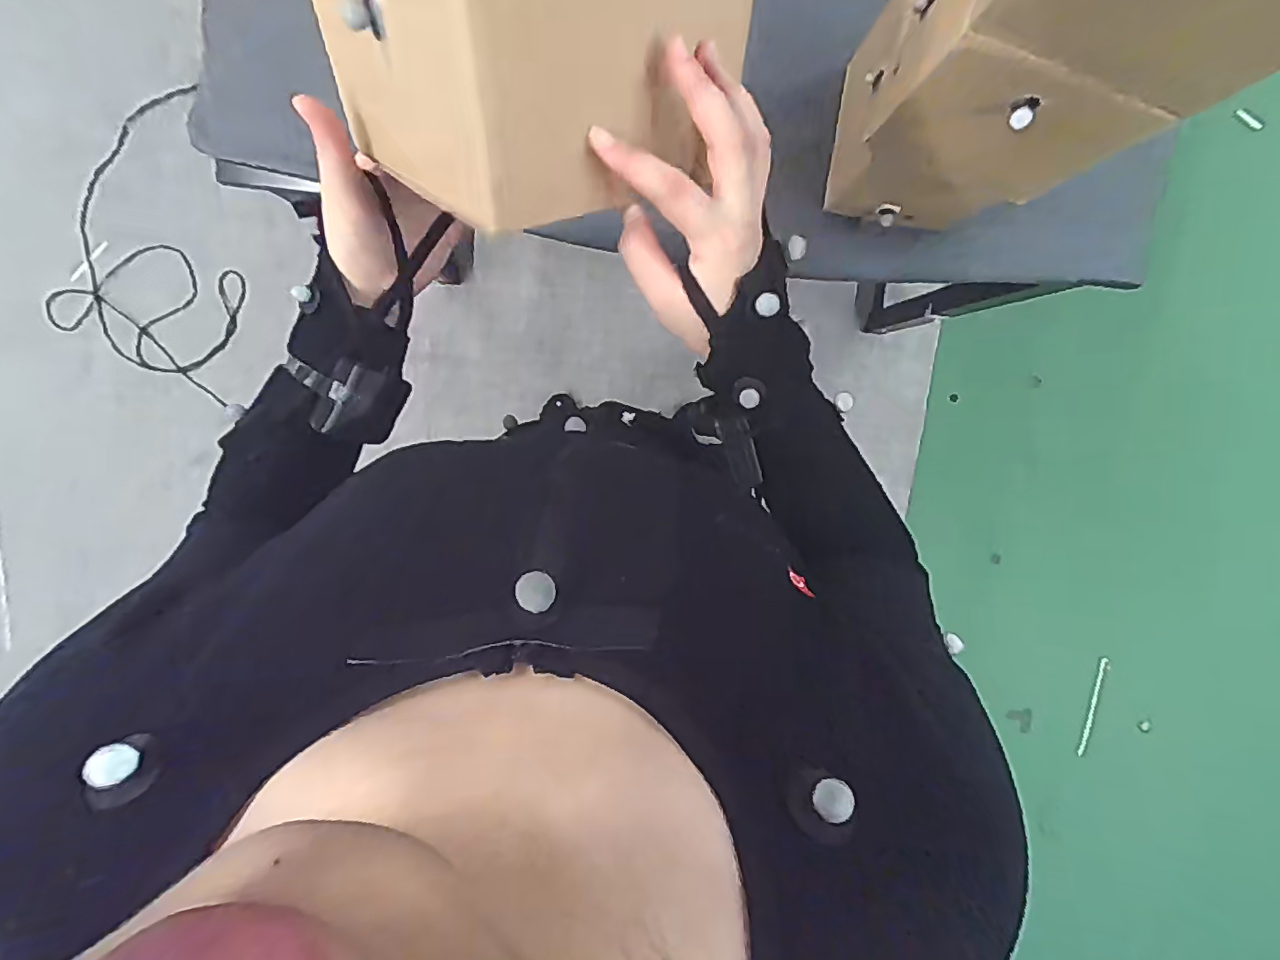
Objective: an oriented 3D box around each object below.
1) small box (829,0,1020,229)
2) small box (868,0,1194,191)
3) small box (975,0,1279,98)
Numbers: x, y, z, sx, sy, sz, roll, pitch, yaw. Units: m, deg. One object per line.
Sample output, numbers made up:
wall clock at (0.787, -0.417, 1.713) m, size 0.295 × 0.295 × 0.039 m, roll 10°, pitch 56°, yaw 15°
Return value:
small box at (0.327, -0.405, 0.602) m, size 0.168 × 0.176 × 0.179 m, roll 7°, pitch 99°, yaw -1°
small box at (0.325, -0.367, 0.444) m, size 0.179 × 0.176 × 0.168 m, roll 18°, pitch 98°, yaw -2°
small box at (0.329, -0.344, 0.280) m, size 0.179 × 0.176 × 0.168 m, roll 20°, pitch 97°, yaw -2°
